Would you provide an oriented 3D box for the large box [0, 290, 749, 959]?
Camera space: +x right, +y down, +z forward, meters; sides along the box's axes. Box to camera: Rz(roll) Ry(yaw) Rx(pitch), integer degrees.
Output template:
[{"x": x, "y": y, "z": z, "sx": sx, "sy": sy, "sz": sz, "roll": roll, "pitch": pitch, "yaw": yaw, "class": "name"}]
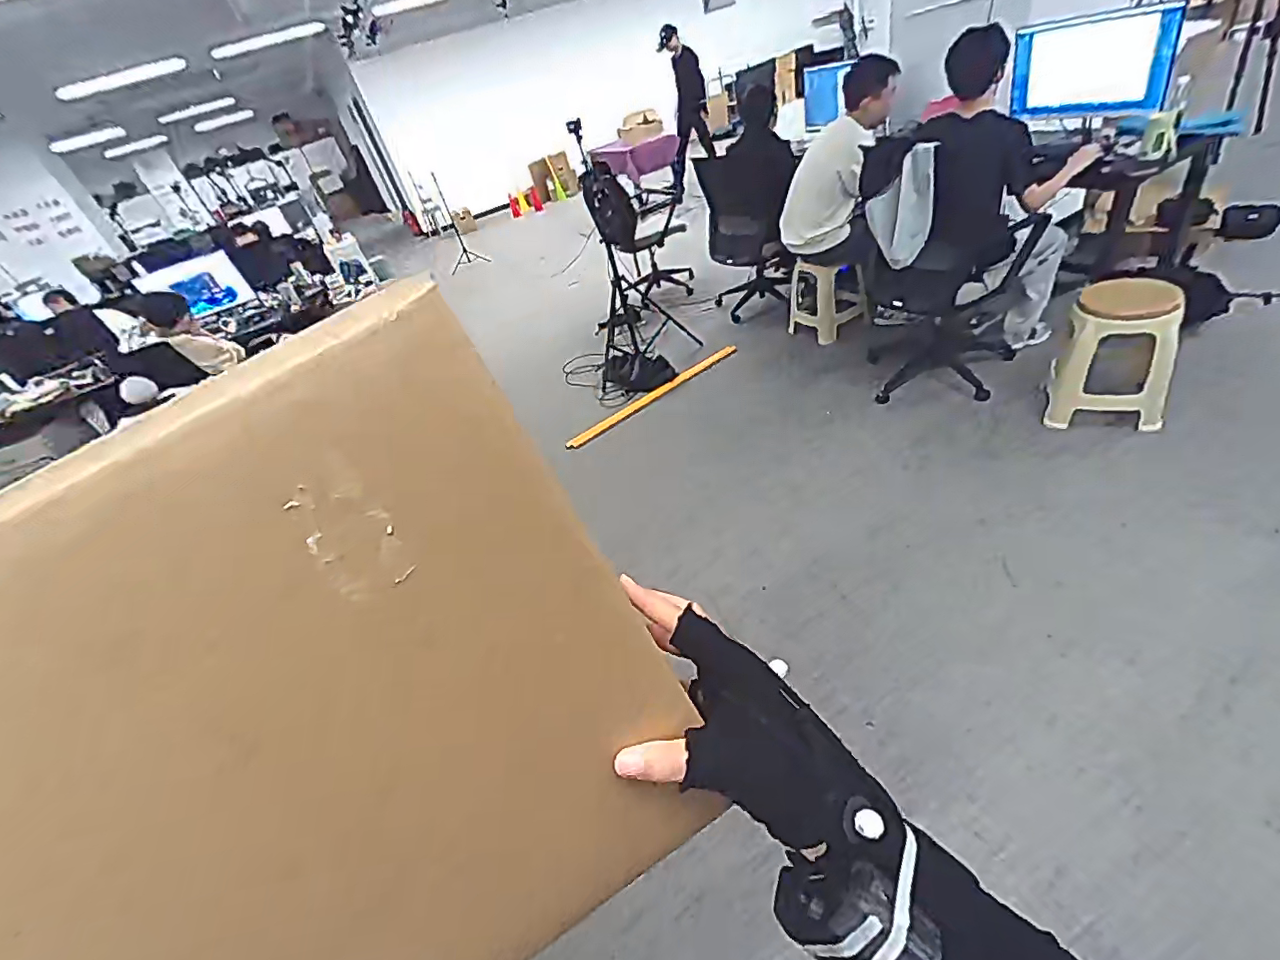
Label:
[{"x": -0.210, "y": 0.116, "z": 0.349, "sx": 0.408, "sy": 0.320, "sz": 0.320, "roll": -31, "pitch": 27, "yaw": -10, "class": "large box"}]
